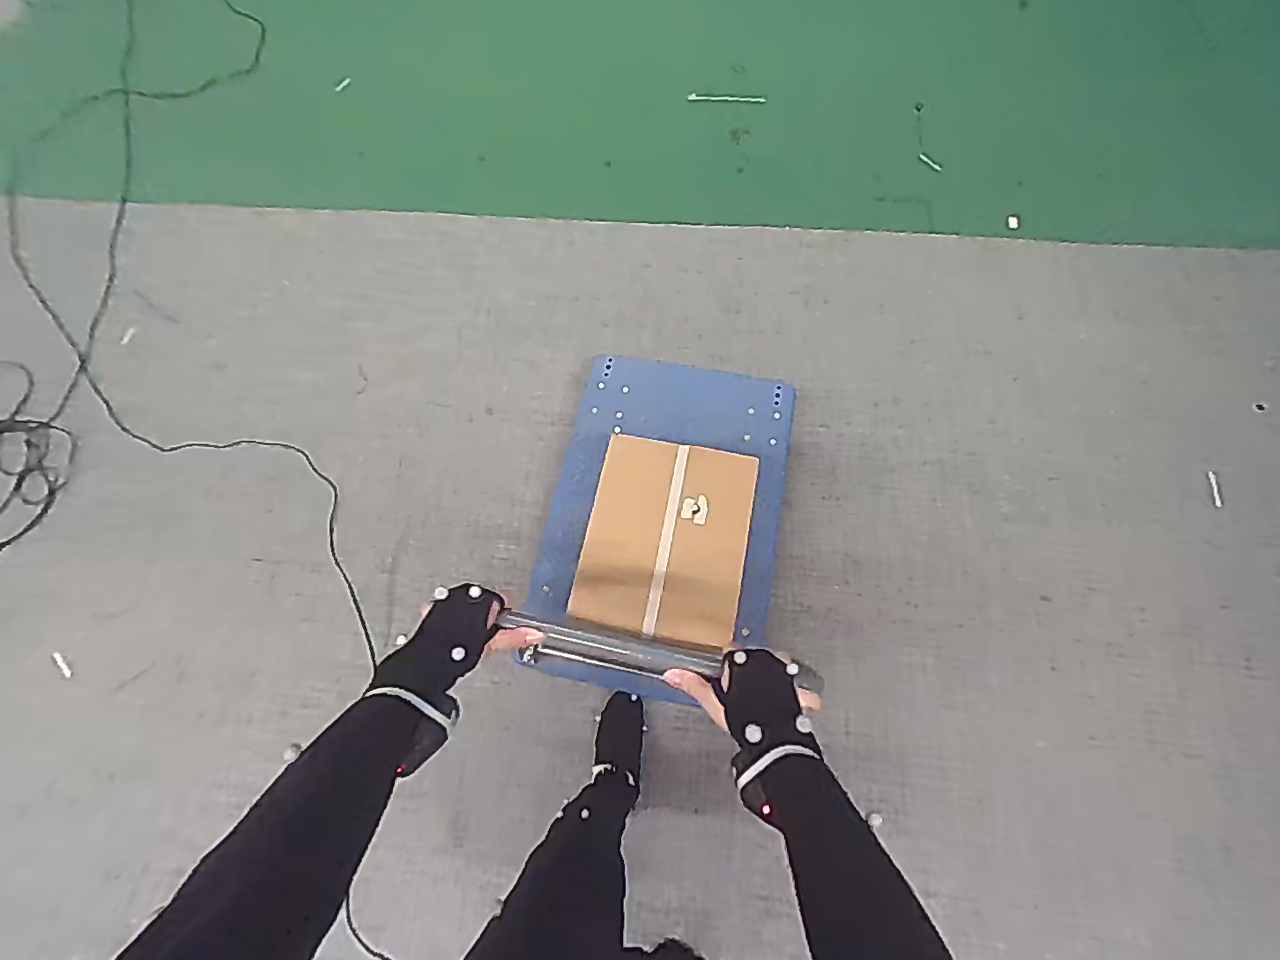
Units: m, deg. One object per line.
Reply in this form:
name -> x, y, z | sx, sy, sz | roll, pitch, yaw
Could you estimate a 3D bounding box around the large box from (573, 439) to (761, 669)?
large box -> 0.067, 0.176, 1.186 | 0.320, 0.320, 0.408 | 11, 69, 5
